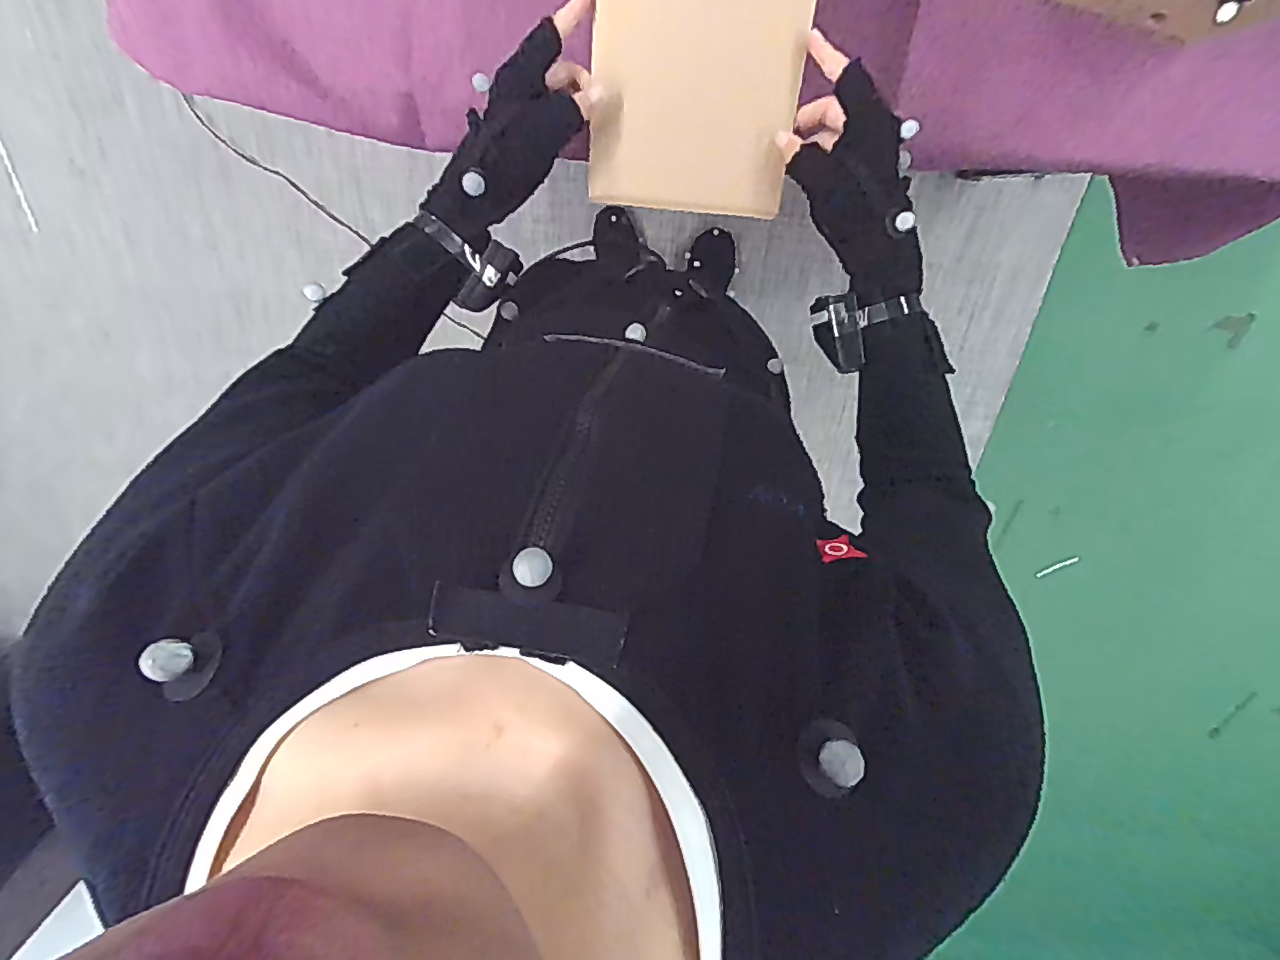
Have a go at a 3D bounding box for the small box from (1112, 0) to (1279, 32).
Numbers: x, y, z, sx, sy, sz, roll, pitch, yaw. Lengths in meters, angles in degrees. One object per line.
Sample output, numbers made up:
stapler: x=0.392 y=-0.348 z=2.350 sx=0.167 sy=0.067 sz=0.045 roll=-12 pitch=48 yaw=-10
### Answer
small box: x=0.449 y=-0.459 z=0.381 sx=0.168 sy=0.176 sz=0.179 roll=15 pitch=117 yaw=-3
